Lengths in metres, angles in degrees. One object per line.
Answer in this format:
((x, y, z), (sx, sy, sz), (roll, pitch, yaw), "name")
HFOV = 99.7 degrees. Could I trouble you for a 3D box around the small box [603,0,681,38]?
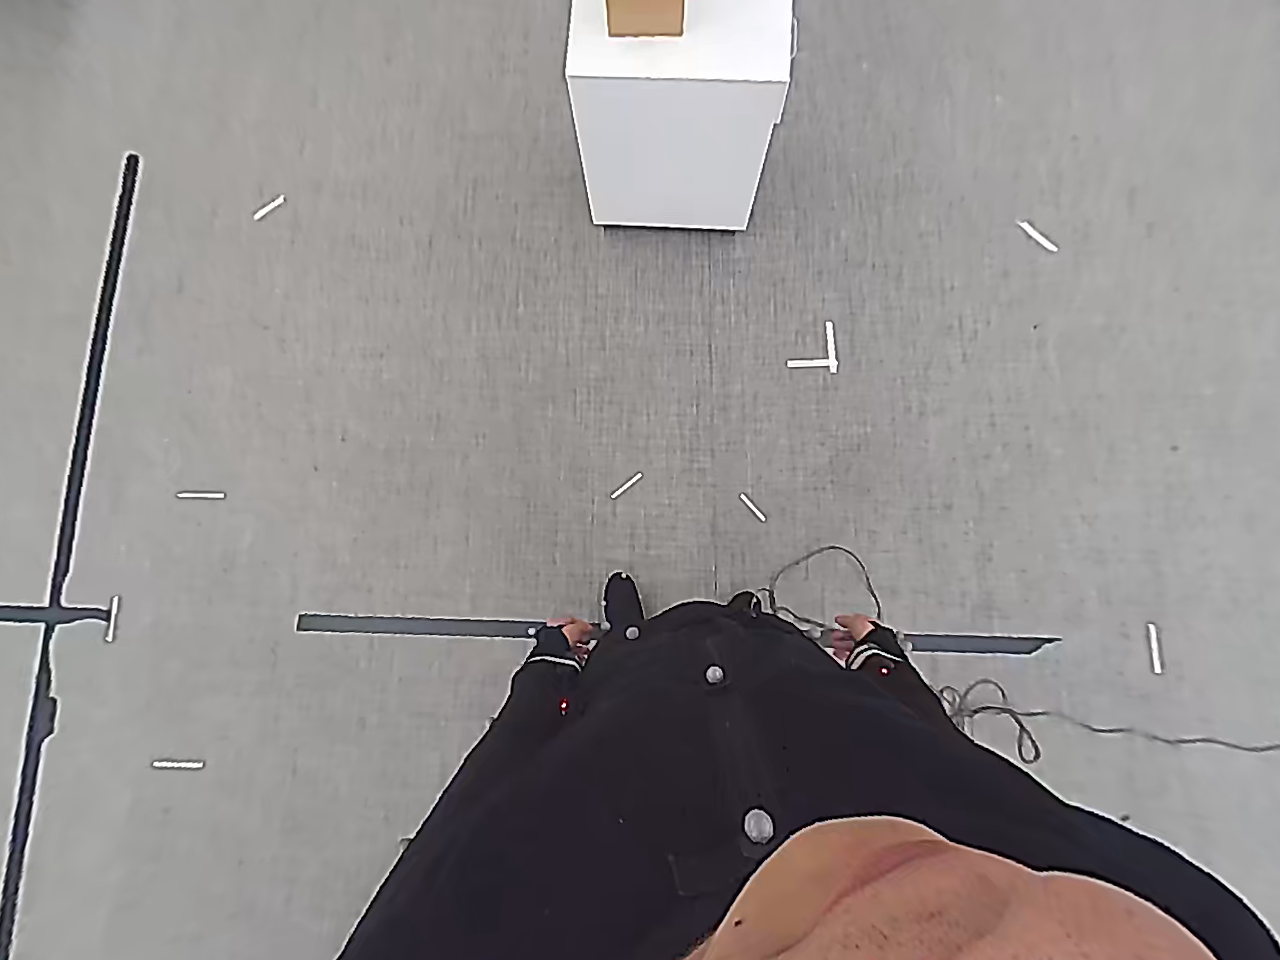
((0.005, -1.123, 1.193), (0.179, 0.176, 0.168), (1, 81, 1), "small box")
